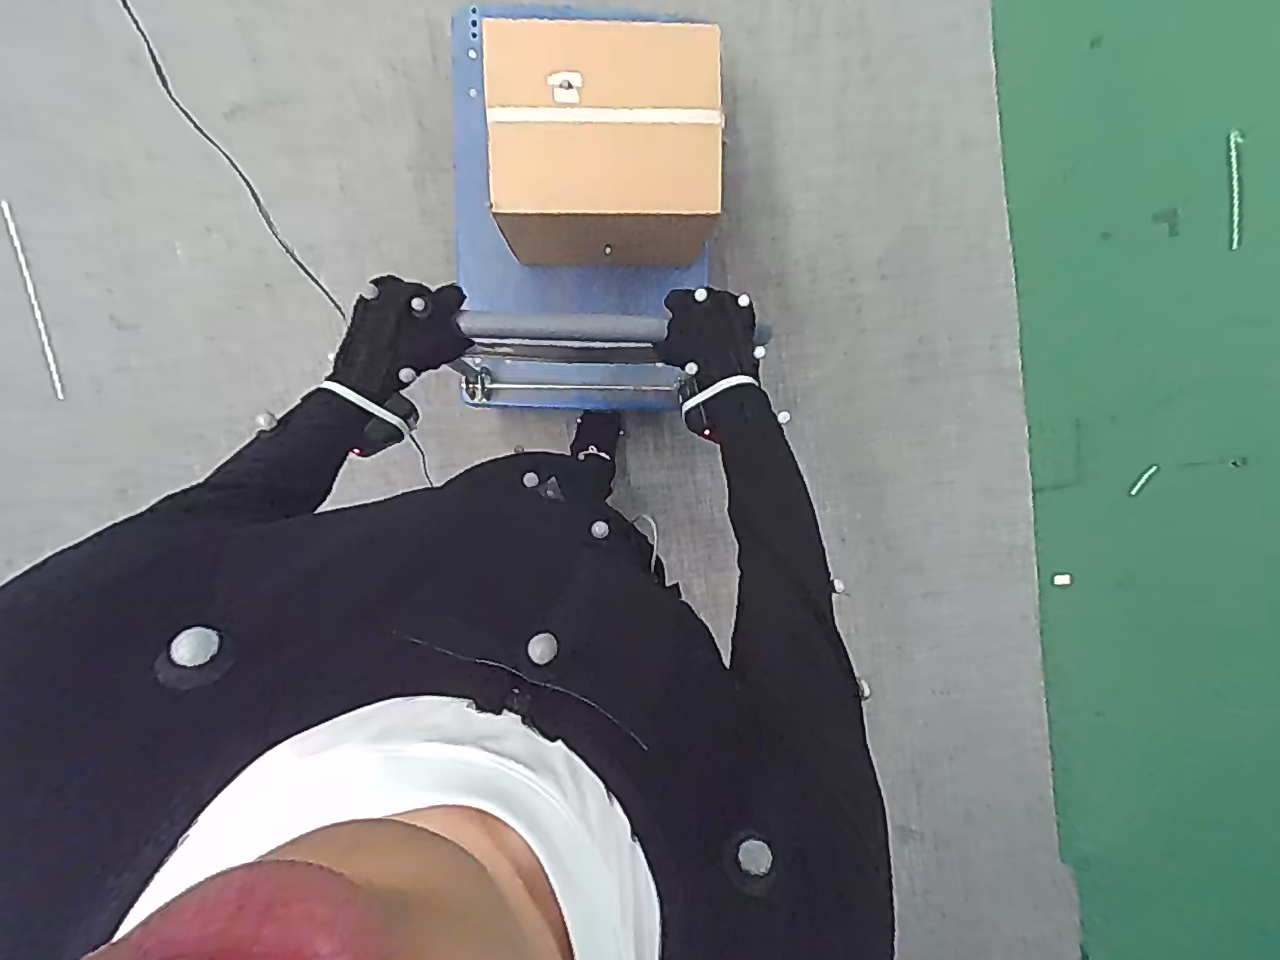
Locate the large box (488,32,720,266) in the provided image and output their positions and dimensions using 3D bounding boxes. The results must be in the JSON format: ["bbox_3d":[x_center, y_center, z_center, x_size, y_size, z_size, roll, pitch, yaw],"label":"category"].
[{"bbox_3d":[-0.062,-0.632,1.092,0.408,0.320,0.320,-1,95,-2],"label":"large box"}]
